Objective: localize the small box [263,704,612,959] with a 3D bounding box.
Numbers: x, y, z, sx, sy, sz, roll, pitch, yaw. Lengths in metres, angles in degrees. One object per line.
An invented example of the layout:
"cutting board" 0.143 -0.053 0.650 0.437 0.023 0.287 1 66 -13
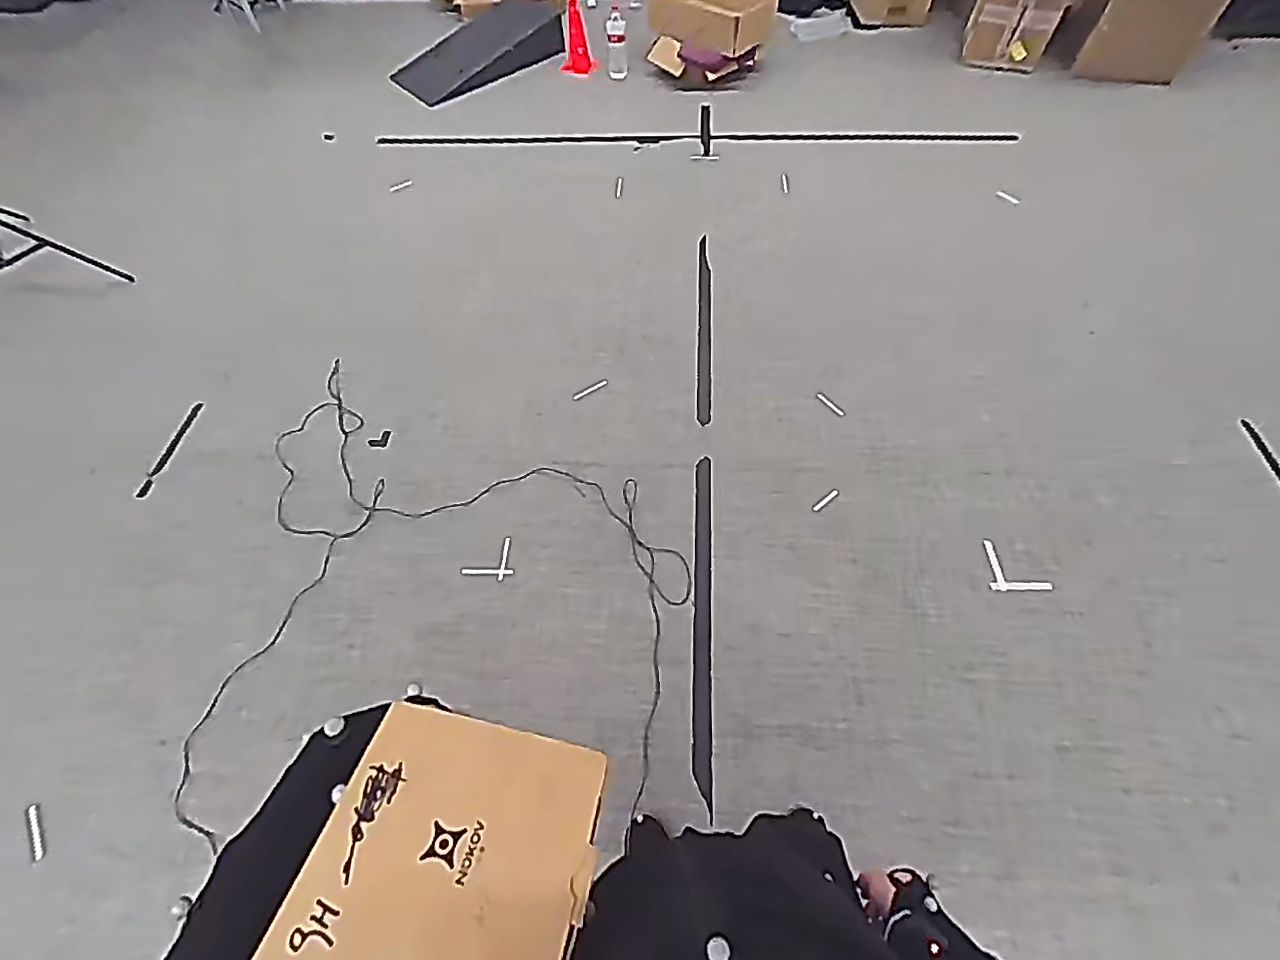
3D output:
"small box" -0.133 0.306 0.418 0.179 0.176 0.168 14 42 2
